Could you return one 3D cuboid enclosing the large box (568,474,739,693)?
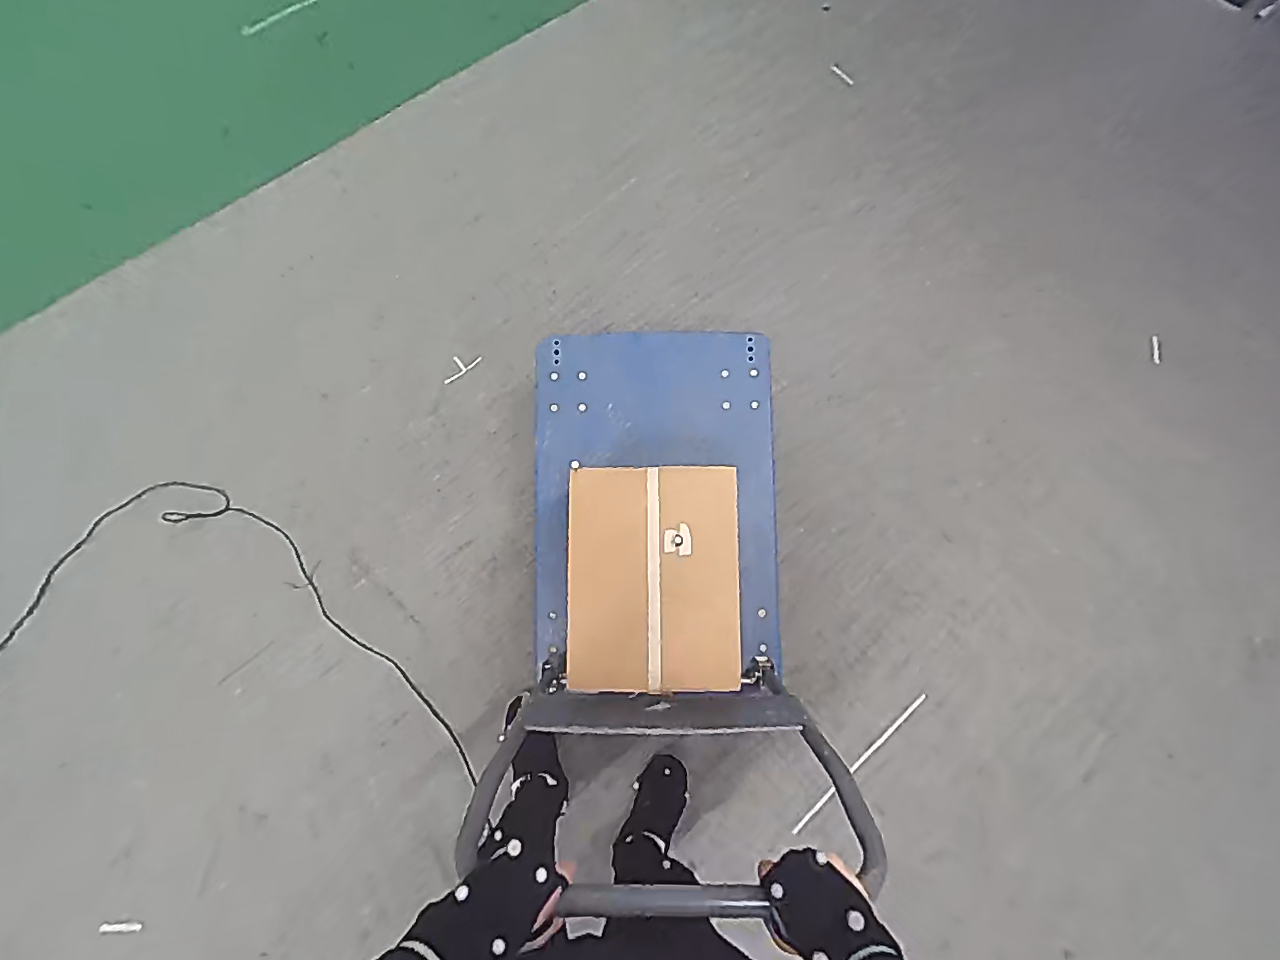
[{"bbox_3d":[0.028,0.210,1.151,0.320,0.320,0.408,0,83,1],"label":"large box"}]
